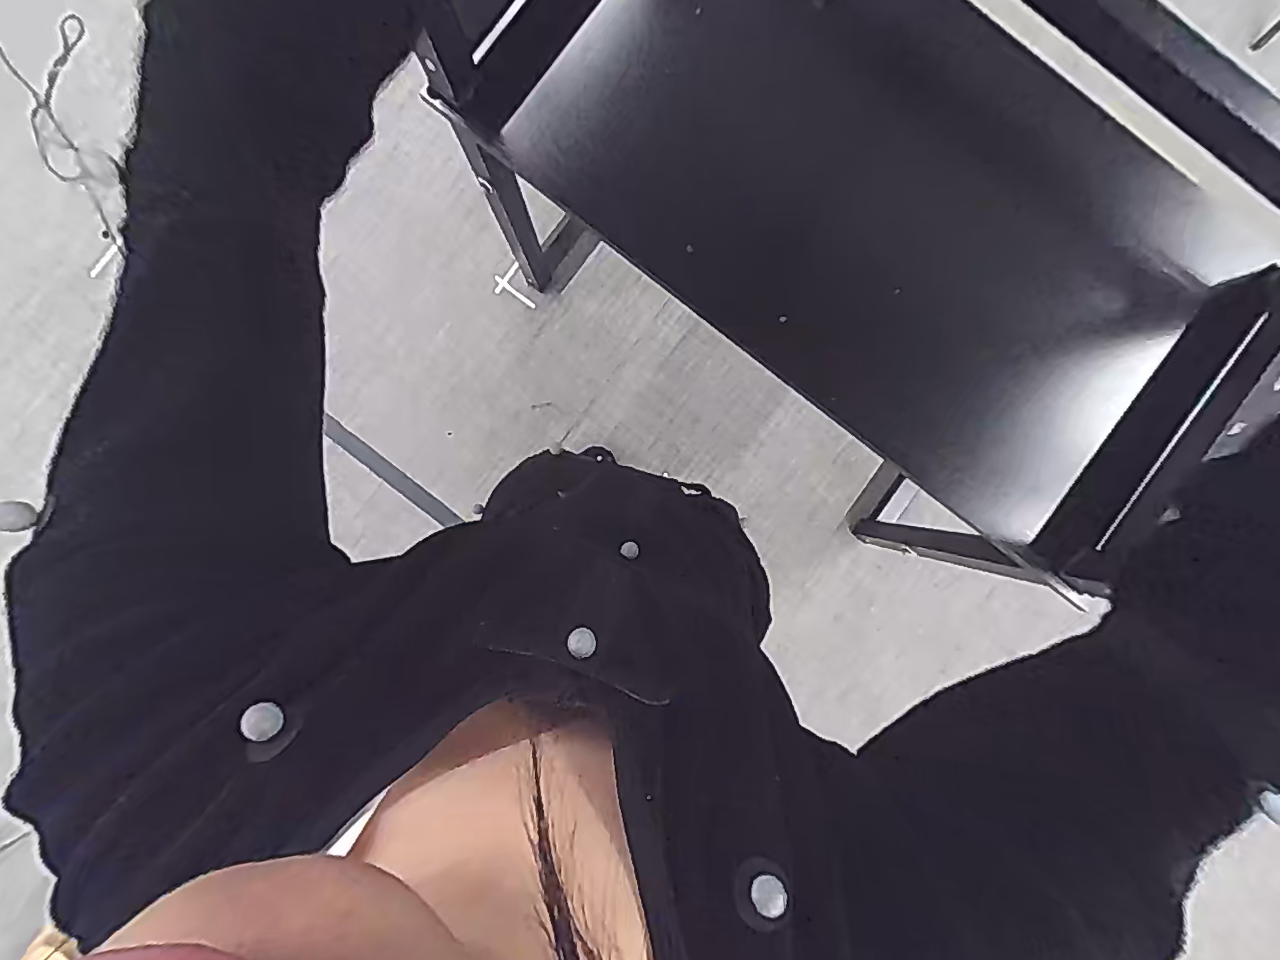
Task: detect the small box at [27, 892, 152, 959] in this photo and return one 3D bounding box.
[{"bbox_3d":[-1.383,1.189,1.343,0.168,0.176,0.179,32,89,-2],"label":"small box"}]
